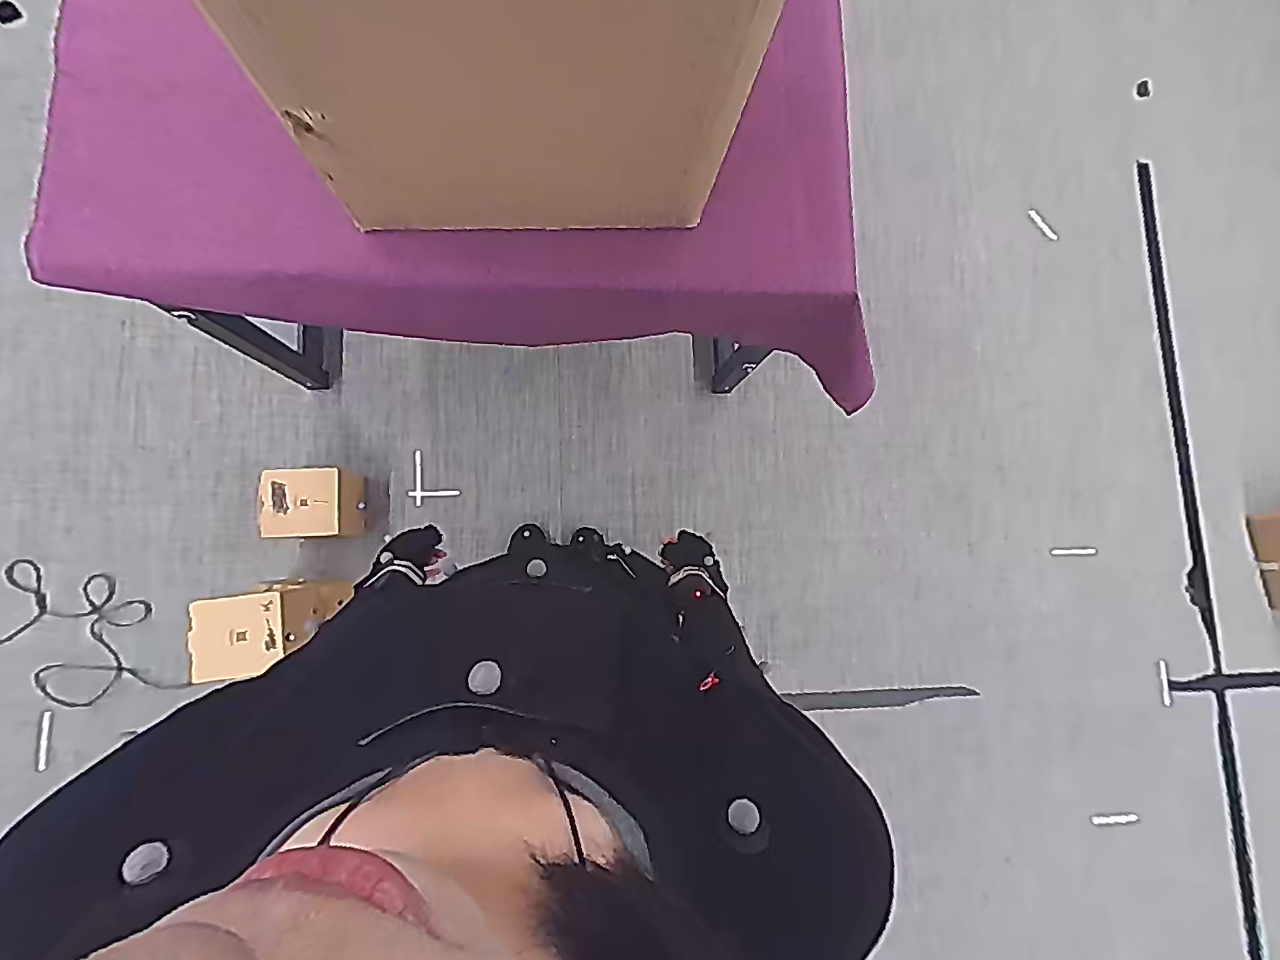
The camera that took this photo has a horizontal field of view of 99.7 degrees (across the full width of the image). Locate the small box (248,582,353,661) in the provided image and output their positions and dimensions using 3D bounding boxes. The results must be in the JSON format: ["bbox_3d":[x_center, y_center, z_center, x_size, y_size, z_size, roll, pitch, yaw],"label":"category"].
[{"bbox_3d":[-0.837,0.343,1.335,0.179,0.176,0.168,4,82,-5],"label":"small box"}]

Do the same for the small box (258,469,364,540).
[{"bbox_3d":[-0.823,0.066,1.365,0.179,0.176,0.168,-2,84,-8],"label":"small box"}]

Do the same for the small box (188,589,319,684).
[{"bbox_3d":[-0.829,0.331,1.172,0.179,0.176,0.168,-6,84,-7],"label":"small box"}]
